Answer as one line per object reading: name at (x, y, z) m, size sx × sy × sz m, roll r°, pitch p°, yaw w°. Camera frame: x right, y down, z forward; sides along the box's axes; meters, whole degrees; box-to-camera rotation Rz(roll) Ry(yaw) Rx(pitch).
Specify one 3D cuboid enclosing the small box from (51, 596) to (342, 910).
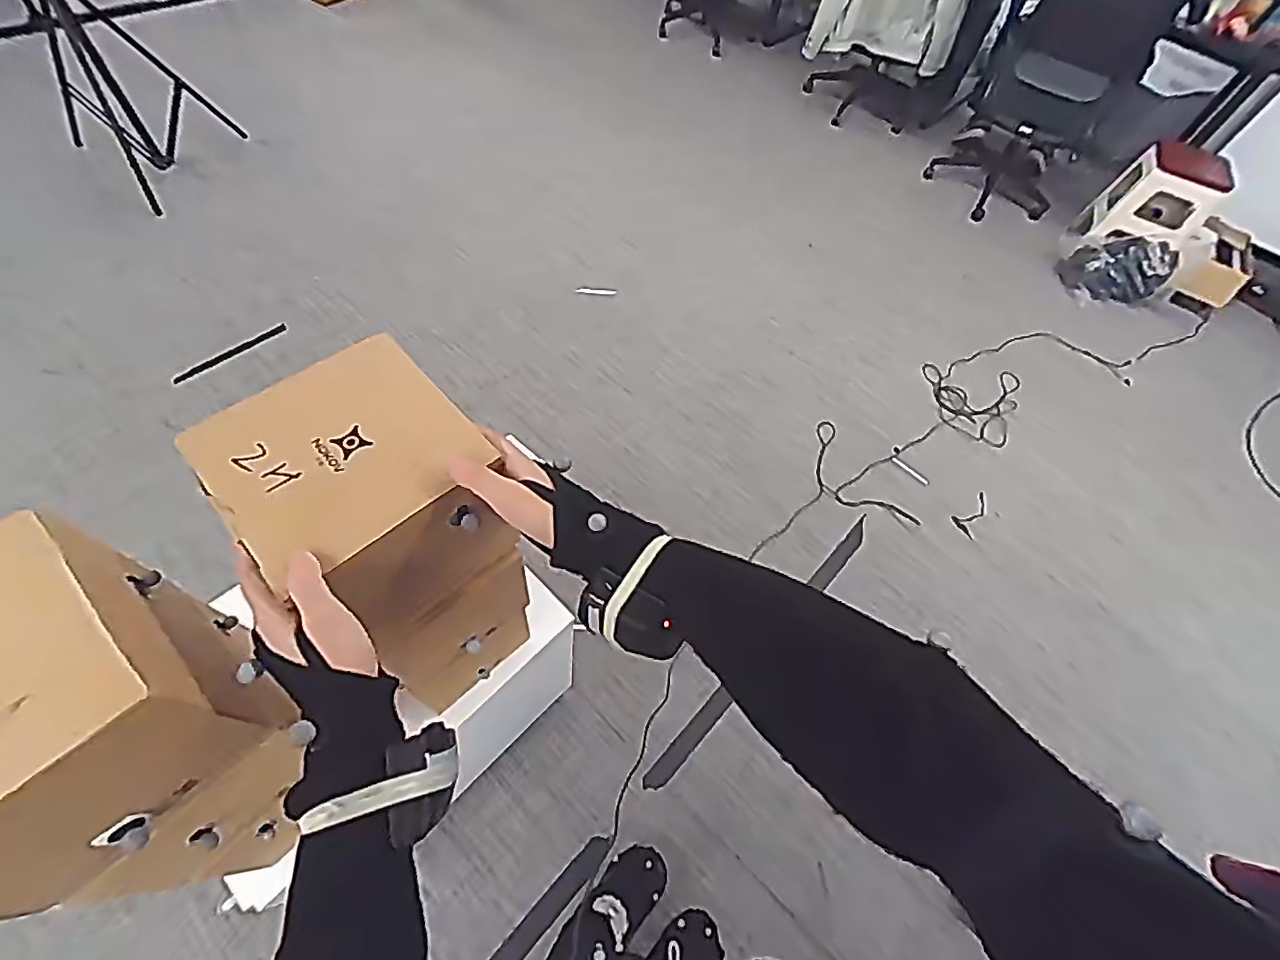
small box at (-0.423, 0.245, 0.509) m, size 0.179 × 0.176 × 0.168 m, roll 40°, pitch 62°, yaw 17°

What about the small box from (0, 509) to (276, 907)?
small box at (-0.405, 0.159, 0.372) m, size 0.179 × 0.176 × 0.168 m, roll 40°, pitch 63°, yaw 16°

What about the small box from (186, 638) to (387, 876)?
small box at (-0.442, 0.328, 0.647) m, size 0.179 × 0.176 × 0.168 m, roll 41°, pitch 63°, yaw 18°

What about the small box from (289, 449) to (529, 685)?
small box at (-0.245, 0.105, 0.614) m, size 0.168 × 0.176 × 0.179 m, roll -38°, pitch 72°, yaw -25°
